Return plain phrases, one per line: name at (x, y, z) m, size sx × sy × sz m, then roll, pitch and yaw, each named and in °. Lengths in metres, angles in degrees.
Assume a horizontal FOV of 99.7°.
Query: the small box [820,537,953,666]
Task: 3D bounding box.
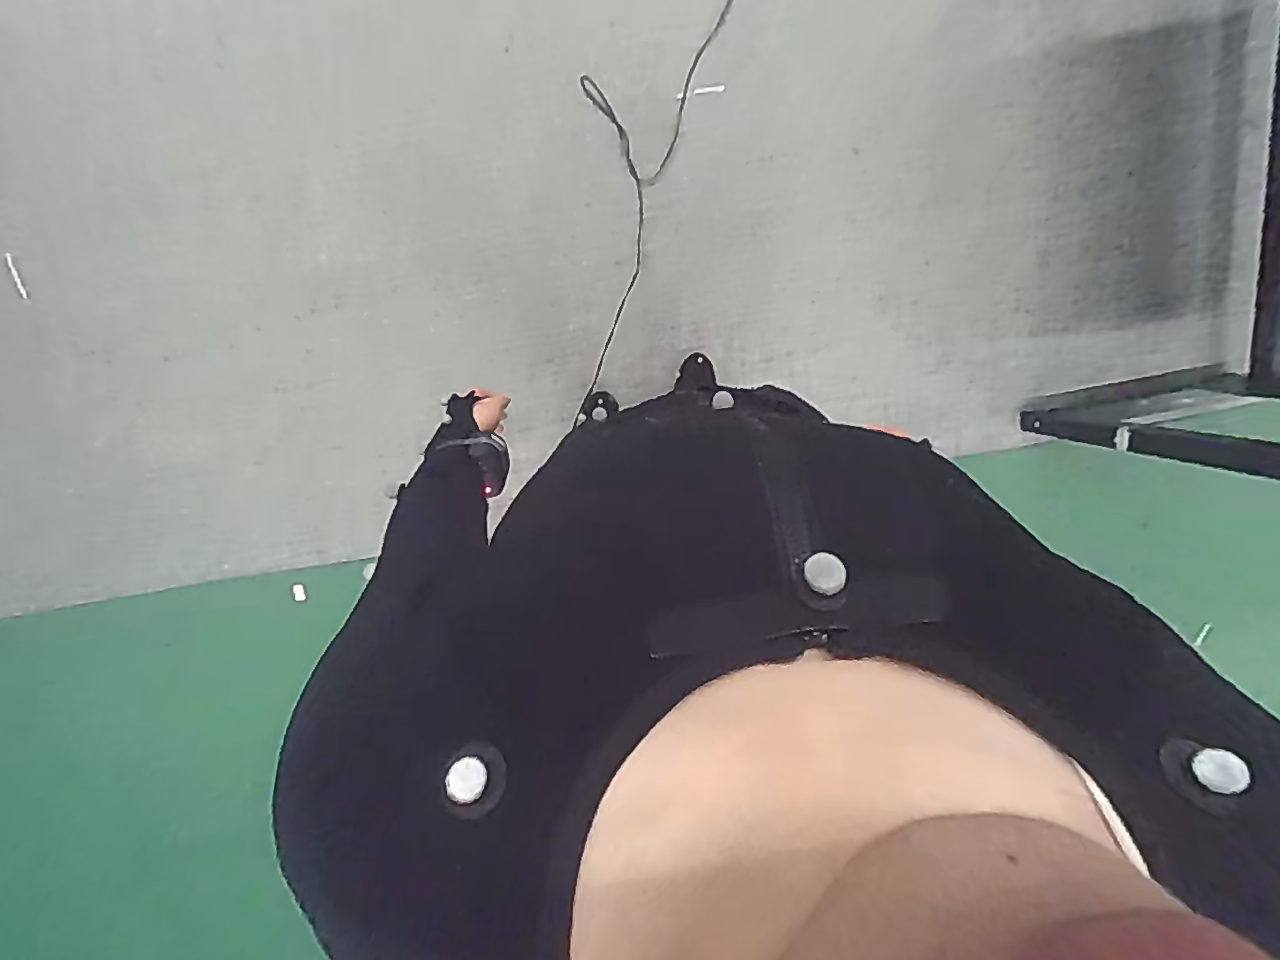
small box at (0.500, 0.247, 1.134) m, size 0.179 × 0.176 × 0.168 m, roll -32°, pitch 100°, yaw 5°
